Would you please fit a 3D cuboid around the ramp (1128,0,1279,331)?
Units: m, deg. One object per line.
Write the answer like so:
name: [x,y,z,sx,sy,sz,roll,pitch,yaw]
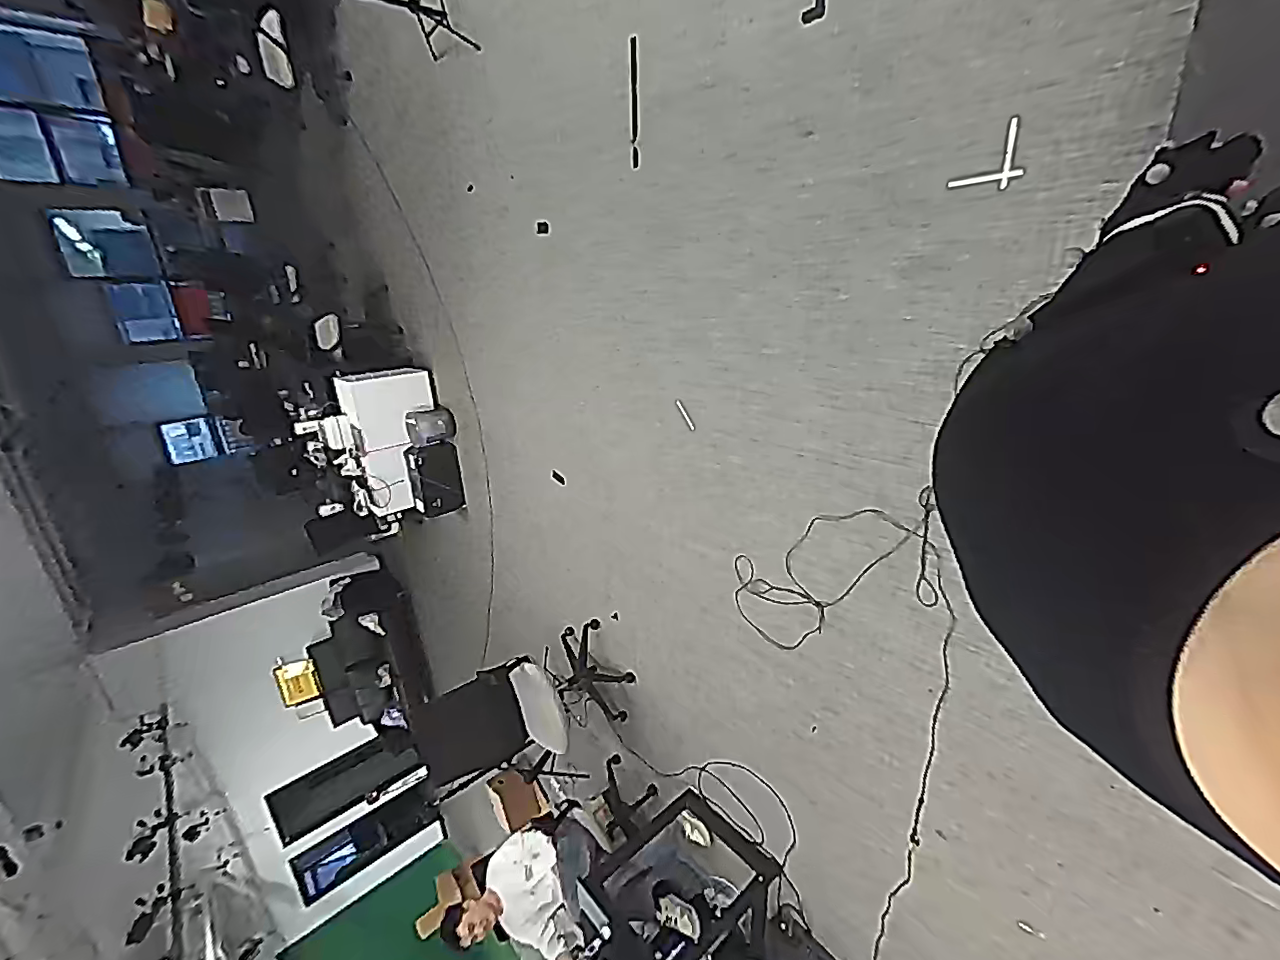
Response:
ramp: [1.082,-0.696,0.726,0.509,0.206,0.991,16,118,45]
